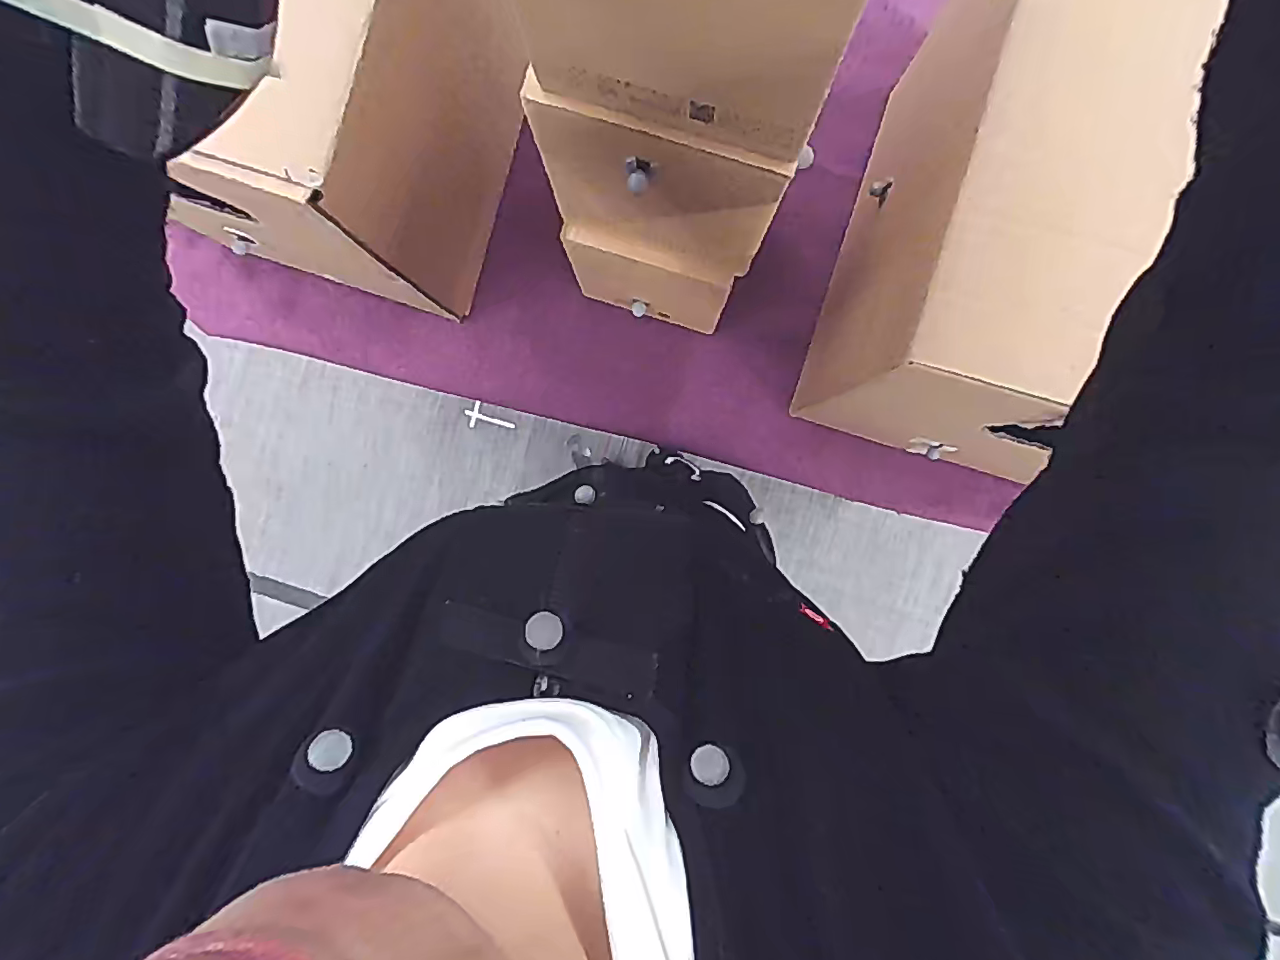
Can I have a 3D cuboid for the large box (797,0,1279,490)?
[{"bbox_3d":[0.373,-0.220,0.491,0.320,0.320,0.408,17,90,1],"label":"large box"}]
